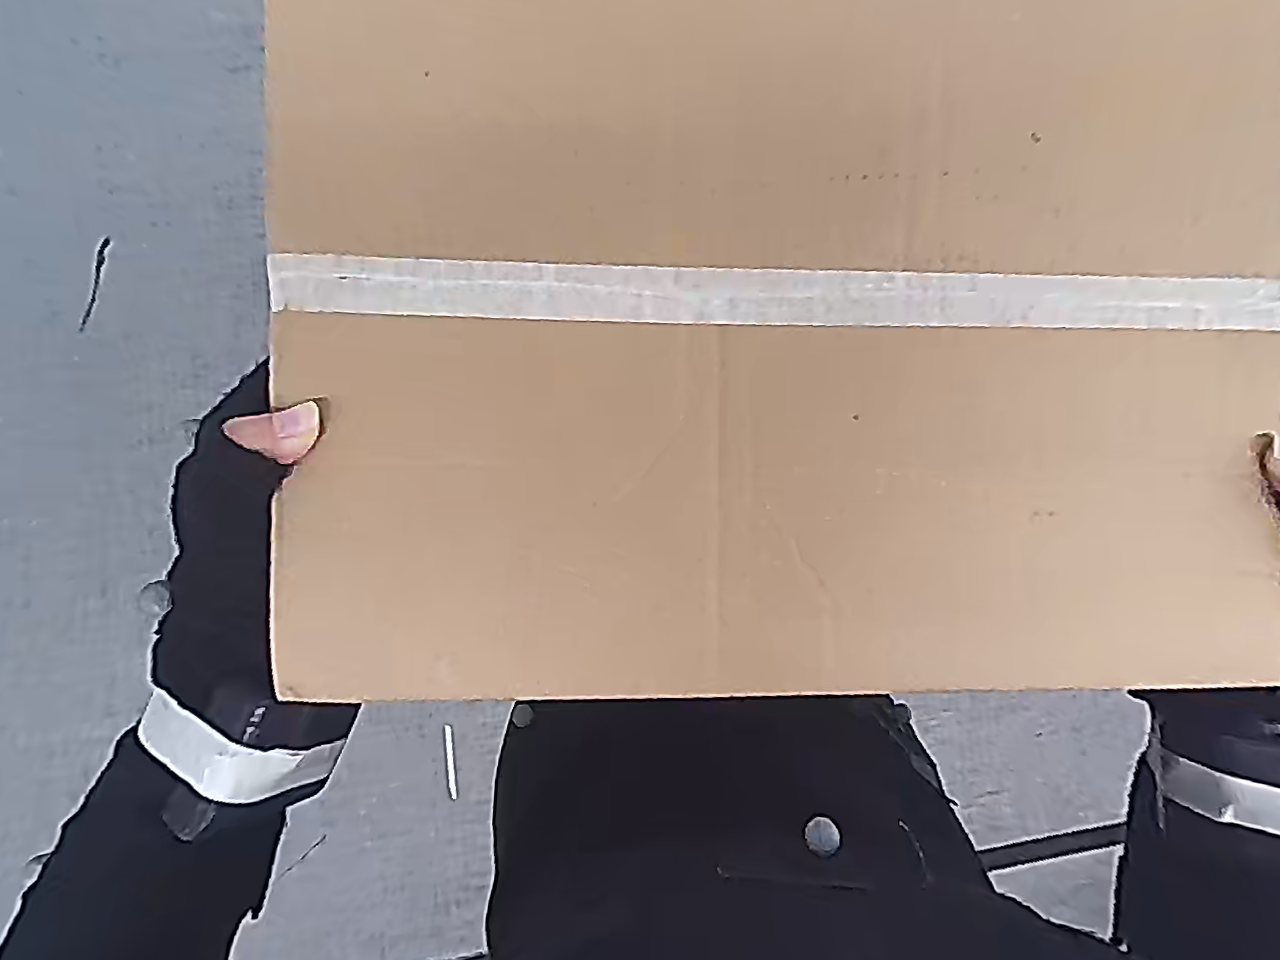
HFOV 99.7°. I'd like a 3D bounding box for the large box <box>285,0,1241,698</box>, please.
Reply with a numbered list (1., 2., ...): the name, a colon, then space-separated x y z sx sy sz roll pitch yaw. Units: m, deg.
1. large box: 0.053 -0.072 0.374 0.408 0.320 0.320 -1 90 -4
